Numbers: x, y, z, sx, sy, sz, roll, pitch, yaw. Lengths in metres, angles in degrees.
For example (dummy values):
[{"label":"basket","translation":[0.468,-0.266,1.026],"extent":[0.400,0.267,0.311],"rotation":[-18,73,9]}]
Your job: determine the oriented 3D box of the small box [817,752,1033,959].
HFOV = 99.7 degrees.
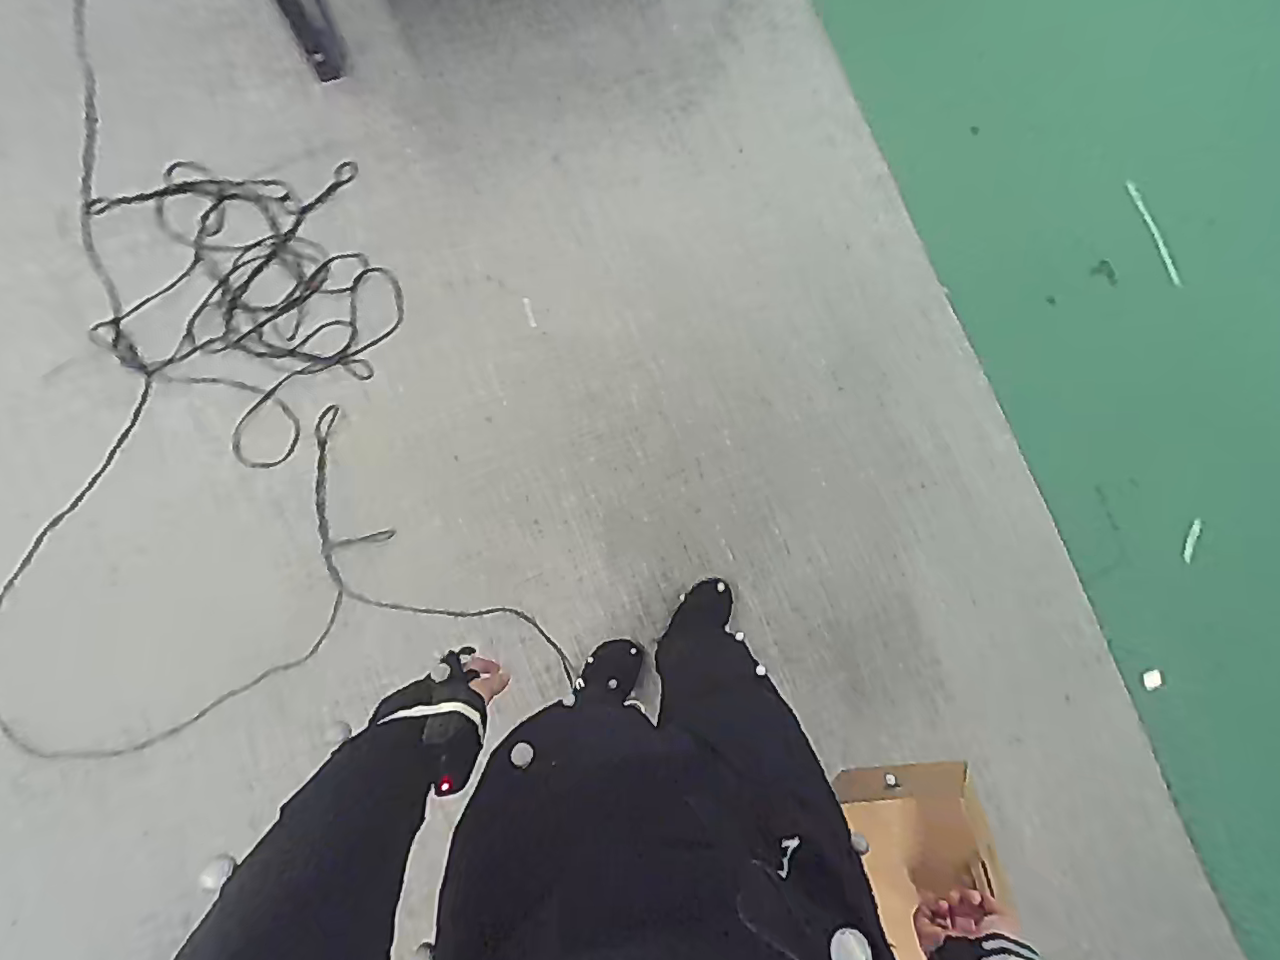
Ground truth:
[{"label":"small box","translation":[0.326,0.439,0.638],"extent":[0.176,0.179,0.168],"rotation":[-23,67,25]}]
